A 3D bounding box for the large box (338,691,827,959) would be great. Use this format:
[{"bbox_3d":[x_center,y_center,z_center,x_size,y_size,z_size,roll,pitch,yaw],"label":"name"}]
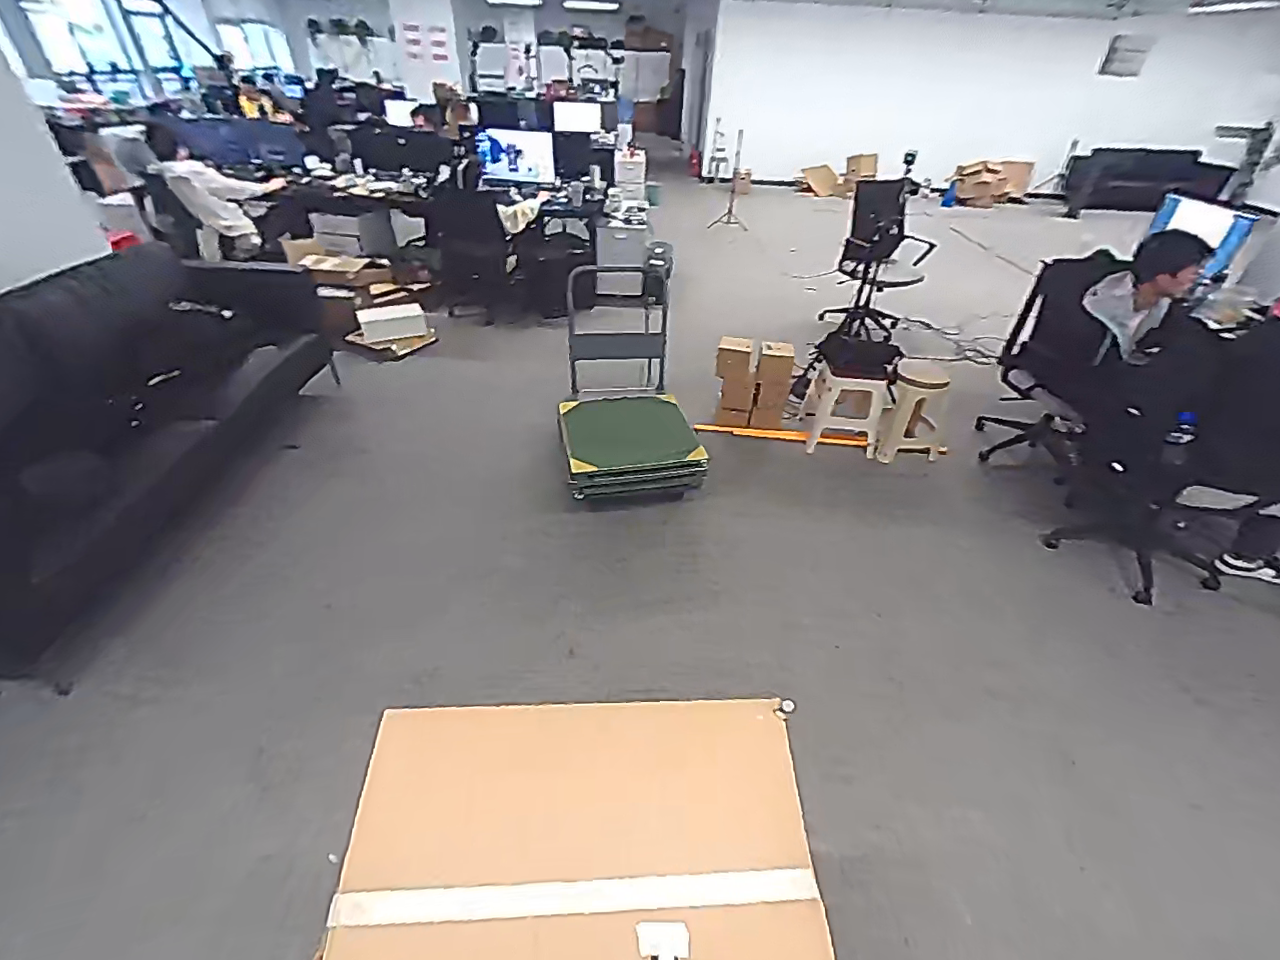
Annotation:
[{"bbox_3d":[-0.056,0.444,0.585,0.408,0.320,0.320,0,52,-5],"label":"large box"}]
